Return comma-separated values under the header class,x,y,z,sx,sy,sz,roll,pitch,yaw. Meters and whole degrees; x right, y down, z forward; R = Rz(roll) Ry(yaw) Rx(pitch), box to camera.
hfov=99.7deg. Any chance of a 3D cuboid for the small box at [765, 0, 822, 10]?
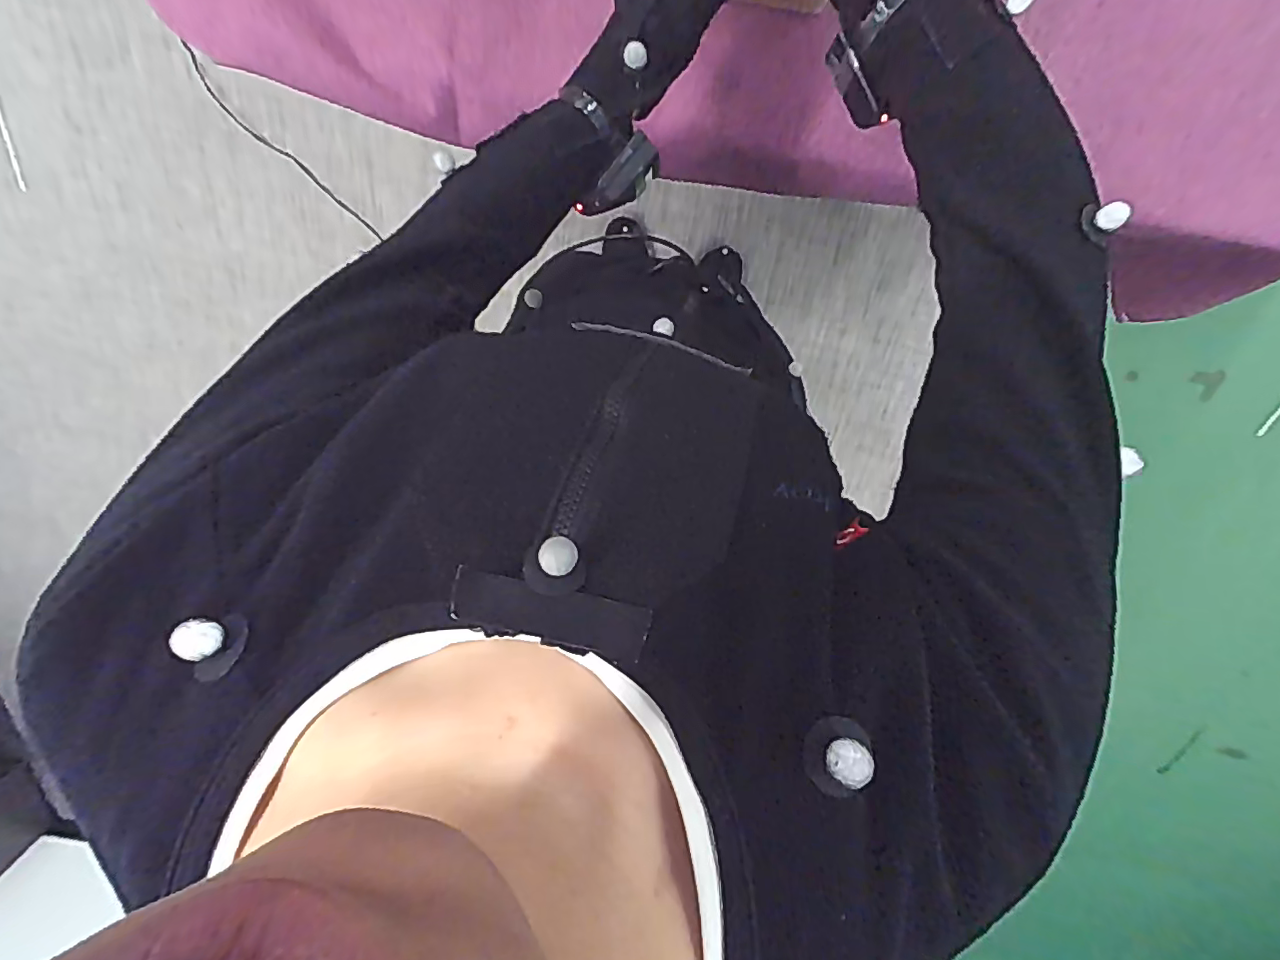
class,x,y,z,sx,sy,sz,roll,pitch,yaw
small box,0.101,-0.501,0.408,0.168,0.176,0.179,11,115,-1
